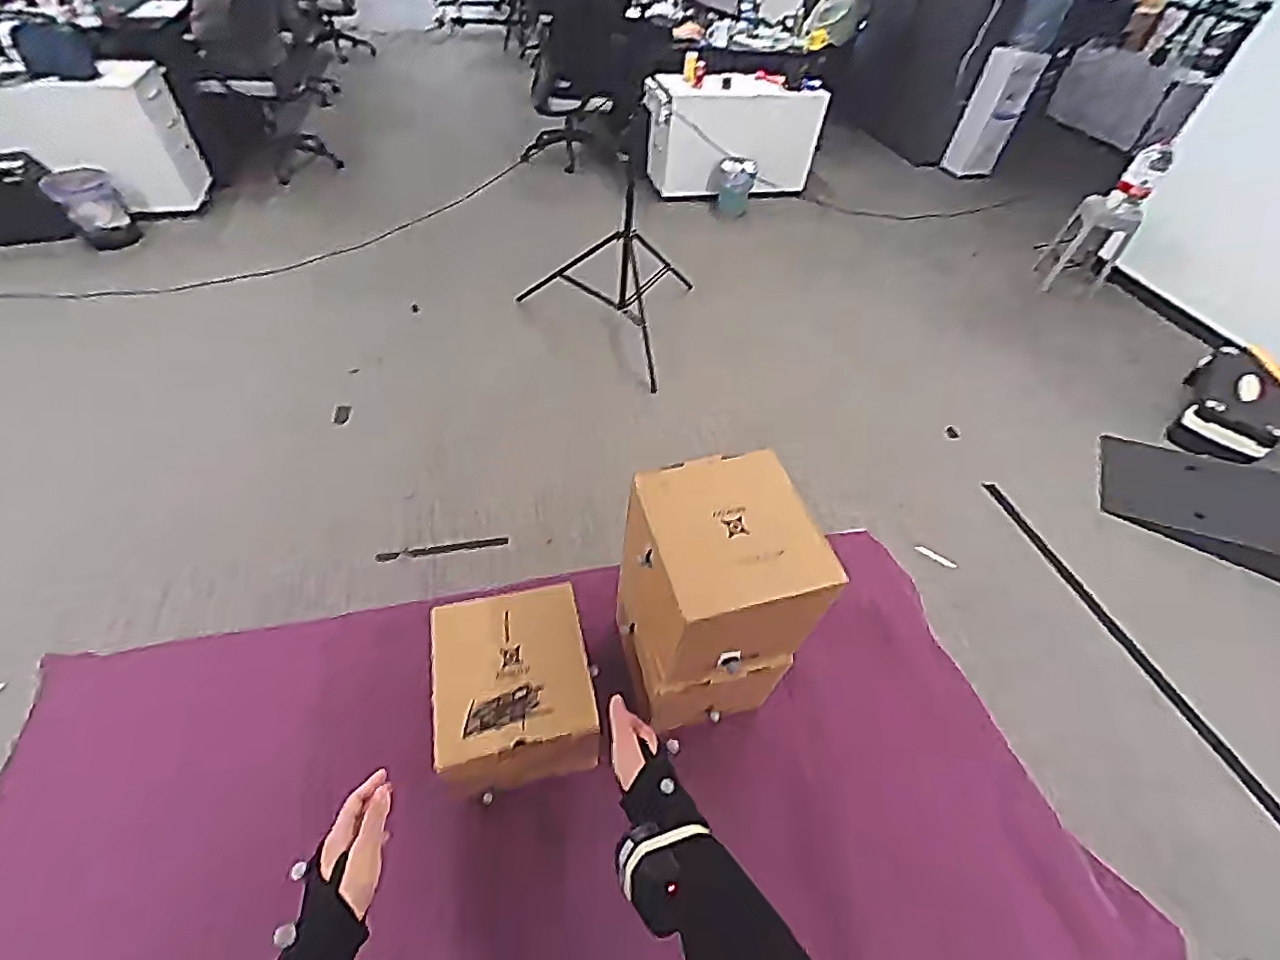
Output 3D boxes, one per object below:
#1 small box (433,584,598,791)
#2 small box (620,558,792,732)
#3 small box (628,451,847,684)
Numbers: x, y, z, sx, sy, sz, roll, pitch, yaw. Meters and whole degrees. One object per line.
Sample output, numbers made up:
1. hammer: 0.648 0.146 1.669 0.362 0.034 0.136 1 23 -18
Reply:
1. small box: -0.147 0.255 0.653 0.168 0.176 0.179 -9 51 -13
2. small box: 0.071 0.206 0.718 0.168 0.176 0.179 -9 52 -12
3. small box: 0.088 0.097 0.599 0.168 0.176 0.179 -11 53 -14
